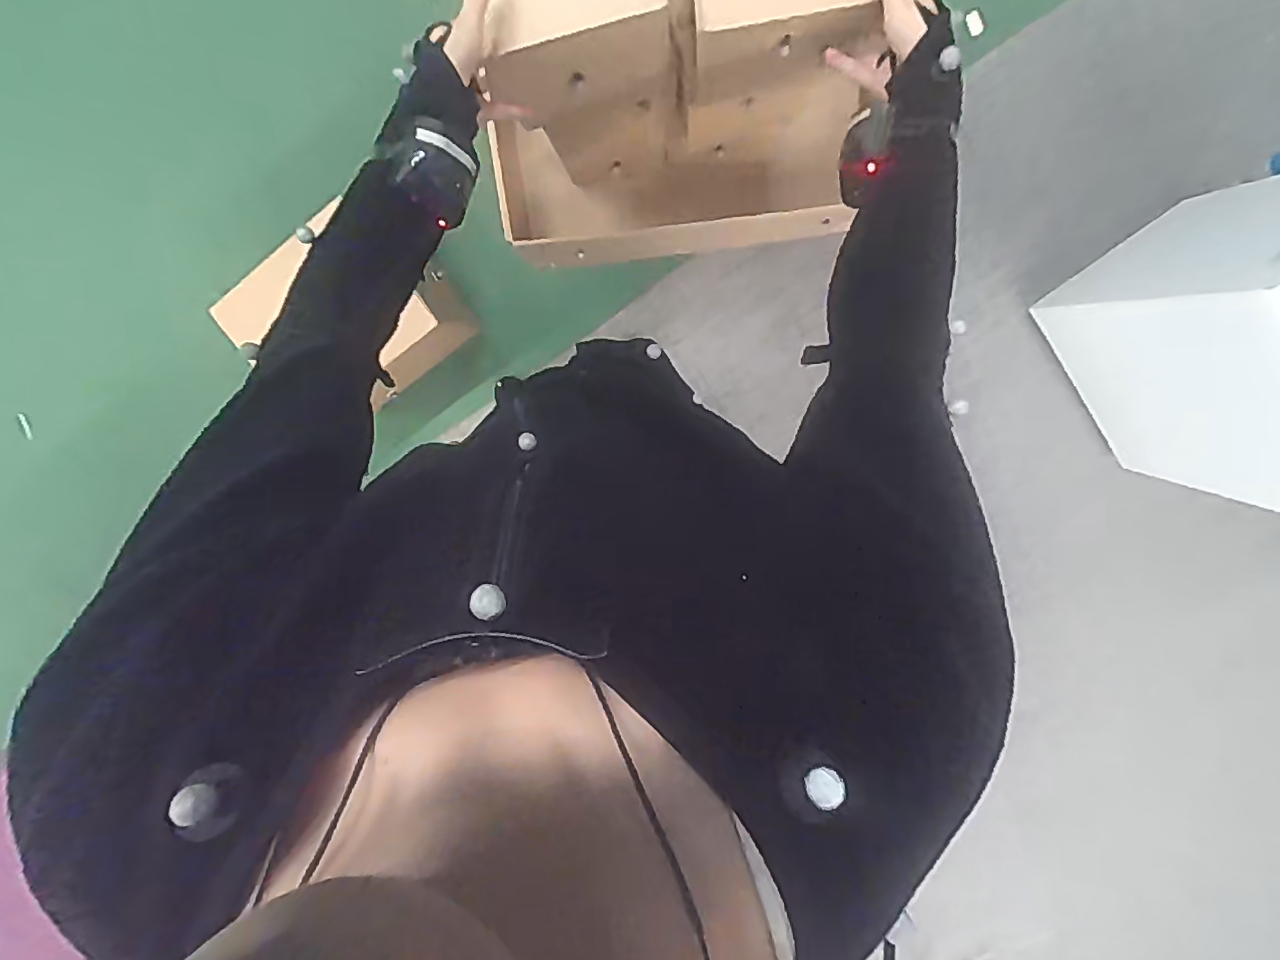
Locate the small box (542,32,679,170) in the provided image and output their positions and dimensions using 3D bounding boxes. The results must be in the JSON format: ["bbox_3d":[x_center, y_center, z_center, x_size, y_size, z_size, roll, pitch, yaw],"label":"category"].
[{"bbox_3d":[-0.062,-0.536,0.694,0.179,0.176,0.168,-21,101,7],"label":"small box"}]

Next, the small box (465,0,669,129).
[{"bbox_3d":[-0.073,-0.486,0.537,0.179,0.176,0.168,-12,102,5],"label":"small box"}]
